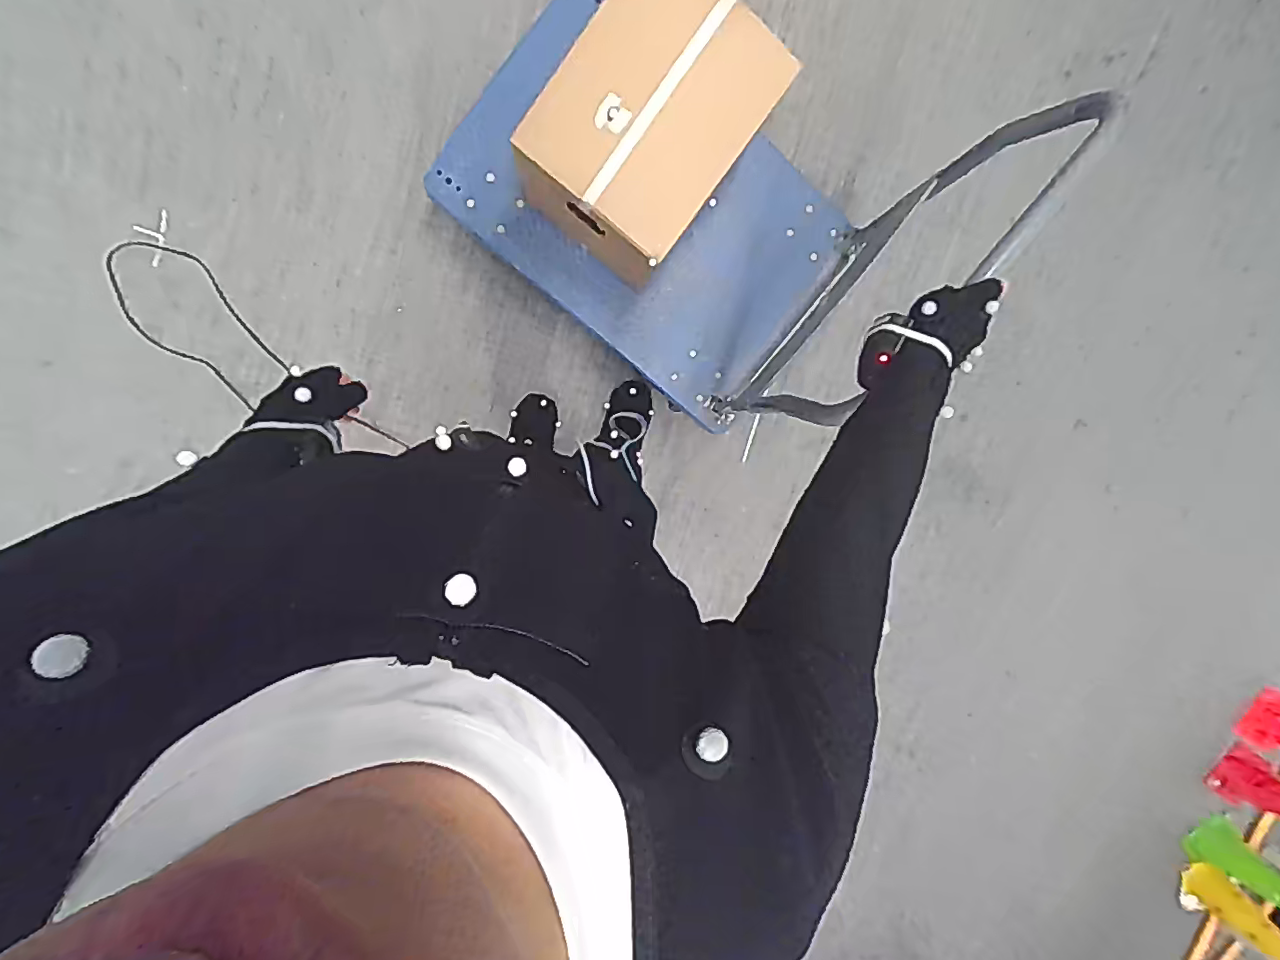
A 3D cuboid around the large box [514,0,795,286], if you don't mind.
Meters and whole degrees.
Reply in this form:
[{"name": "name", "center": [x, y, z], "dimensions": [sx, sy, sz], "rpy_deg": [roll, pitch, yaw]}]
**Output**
[{"name": "large box", "center": [0.013, -0.650, 1.038], "dimensions": [0.320, 0.320, 0.408], "rpy_deg": [36, 96, -11]}]
